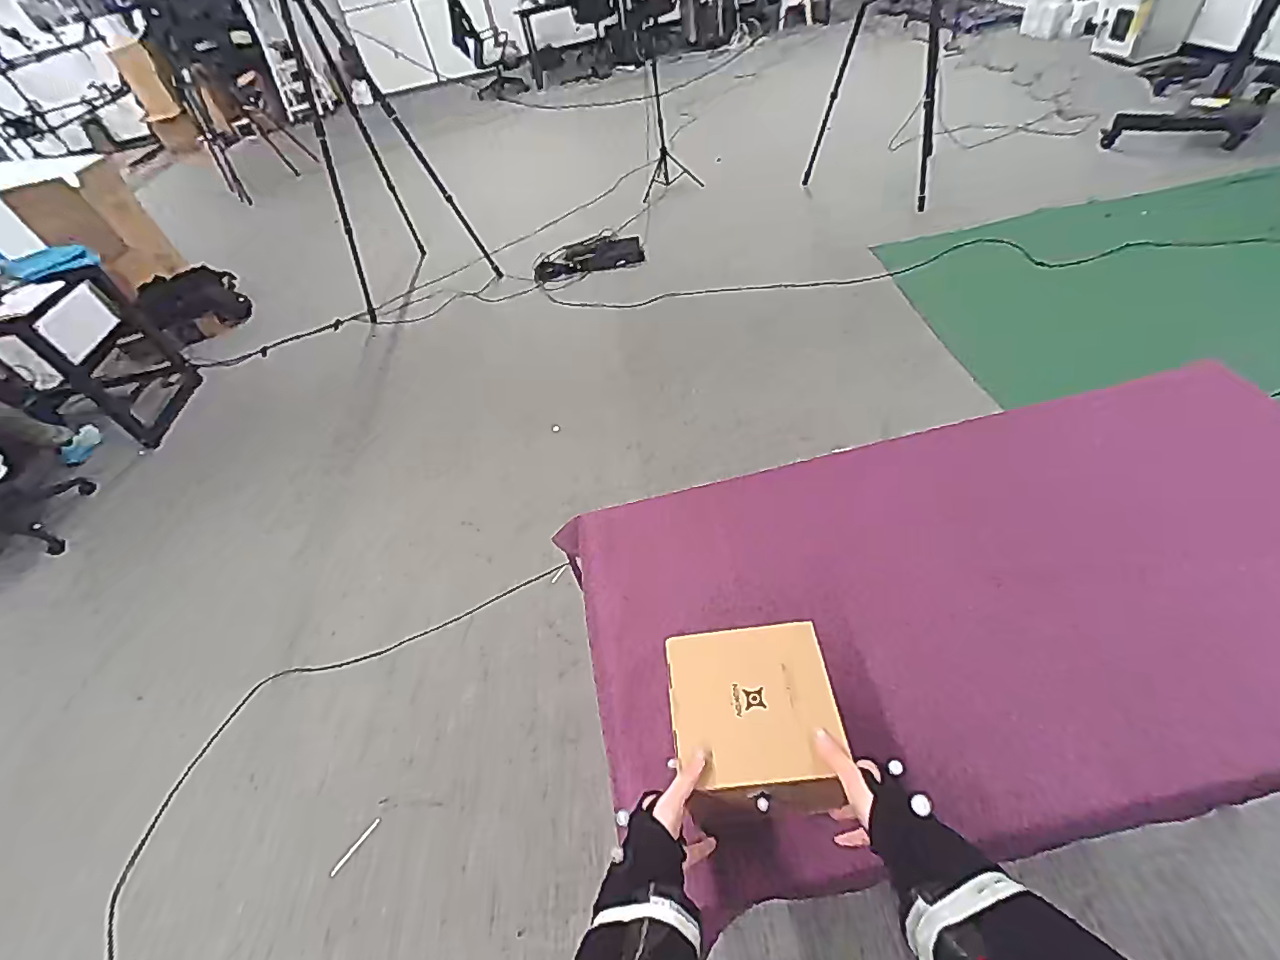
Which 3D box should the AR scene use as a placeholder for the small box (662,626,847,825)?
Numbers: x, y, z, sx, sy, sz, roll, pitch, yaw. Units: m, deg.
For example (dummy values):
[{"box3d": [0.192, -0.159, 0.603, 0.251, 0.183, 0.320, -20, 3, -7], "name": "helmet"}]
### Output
[{"box3d": [0.128, 0.295, 0.641, 0.179, 0.176, 0.168, -8, 47, 5], "name": "small box"}]
